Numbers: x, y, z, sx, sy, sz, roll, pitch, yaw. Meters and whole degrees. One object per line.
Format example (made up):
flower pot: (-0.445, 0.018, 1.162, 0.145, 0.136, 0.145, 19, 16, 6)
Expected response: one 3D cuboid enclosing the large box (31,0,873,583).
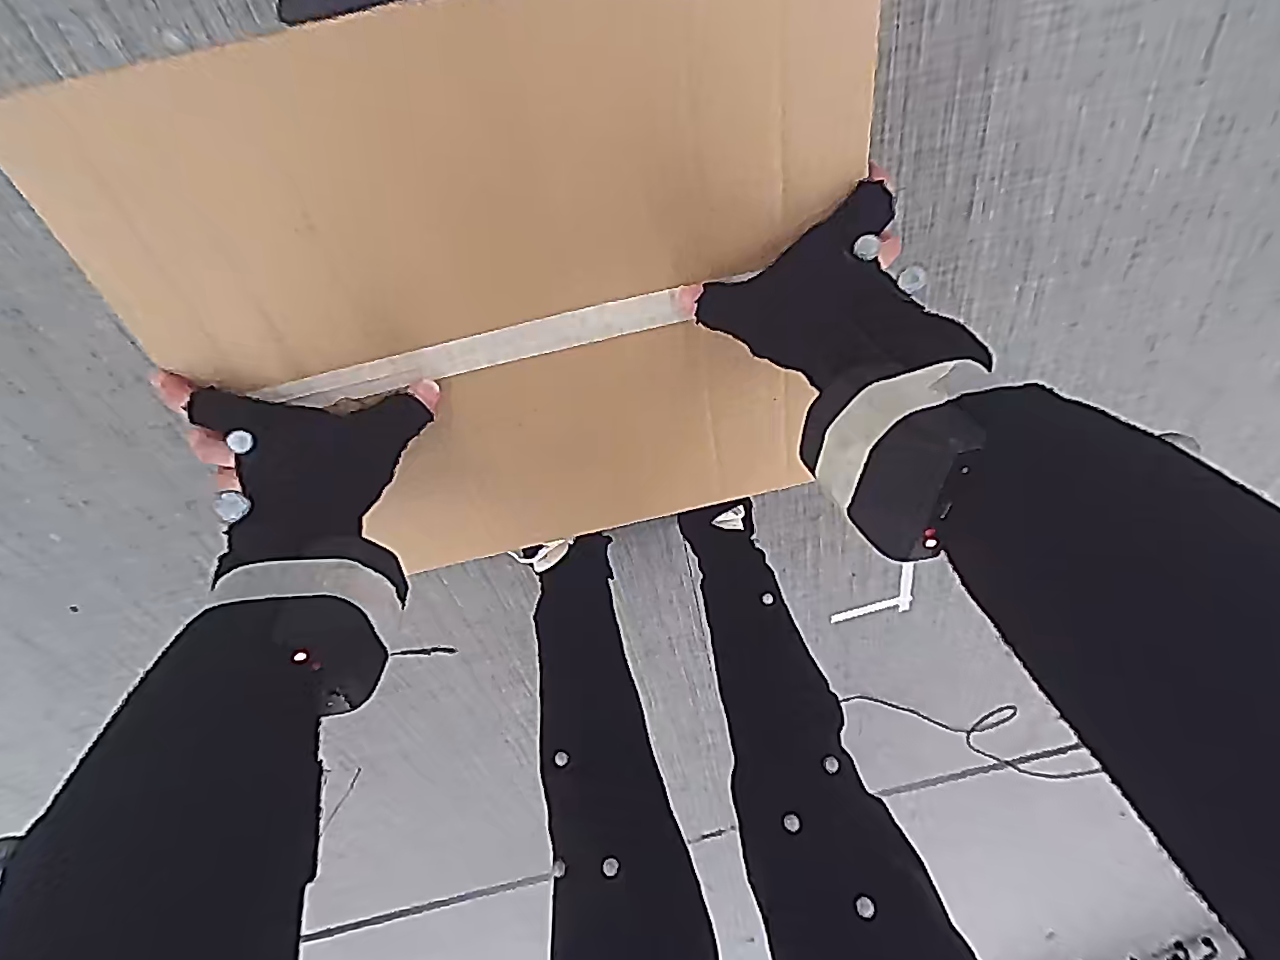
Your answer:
large box: (-0.081, -0.169, 0.450, 0.408, 0.320, 0.320, -13, 128, -1)
